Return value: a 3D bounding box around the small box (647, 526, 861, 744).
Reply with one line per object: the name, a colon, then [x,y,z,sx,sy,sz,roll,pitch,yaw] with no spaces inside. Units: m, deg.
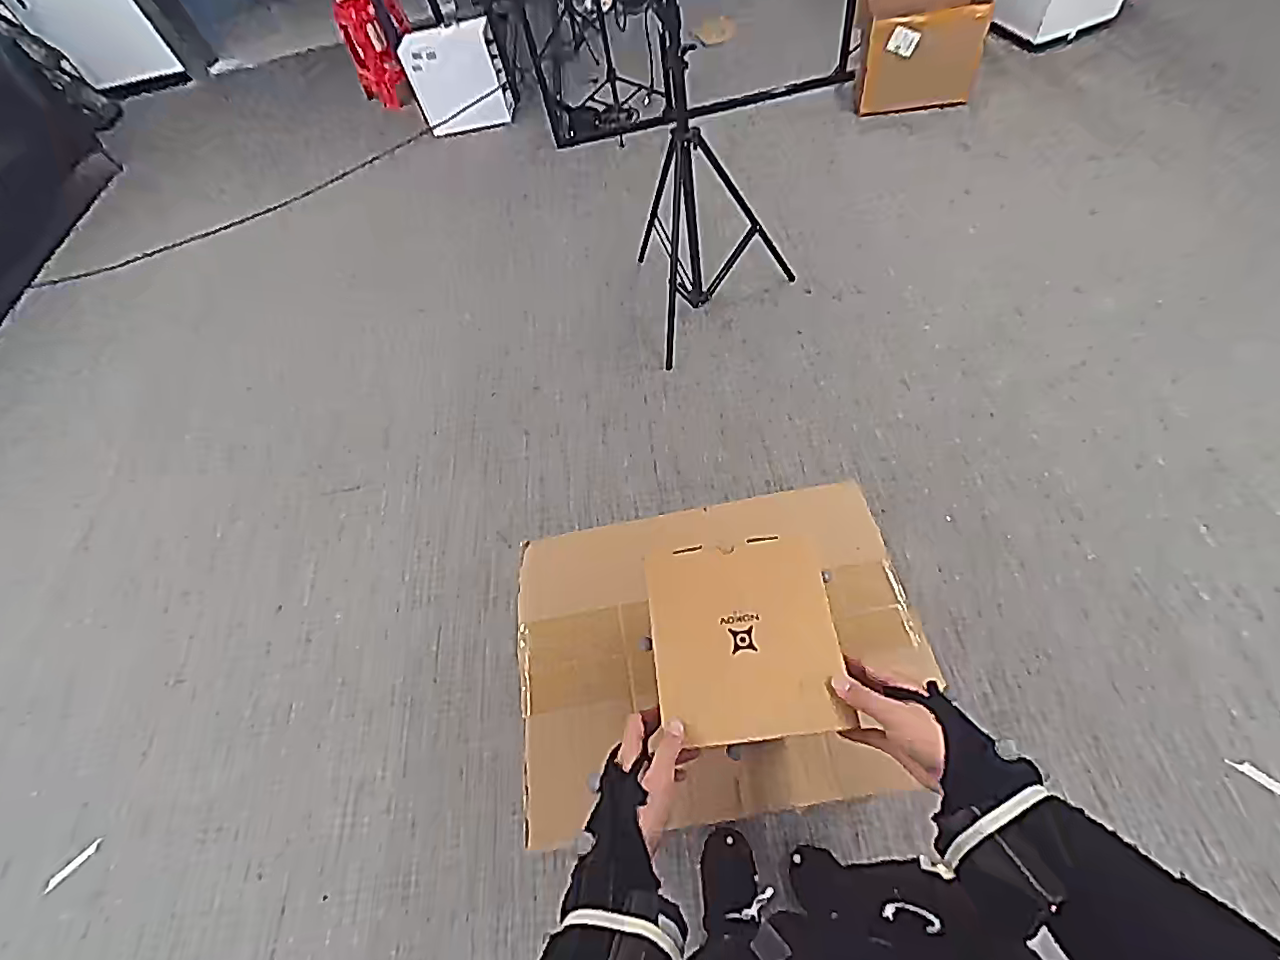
small box: [0.107,0.166,0.557,0.168,0.176,0.179,-9,63,4]
